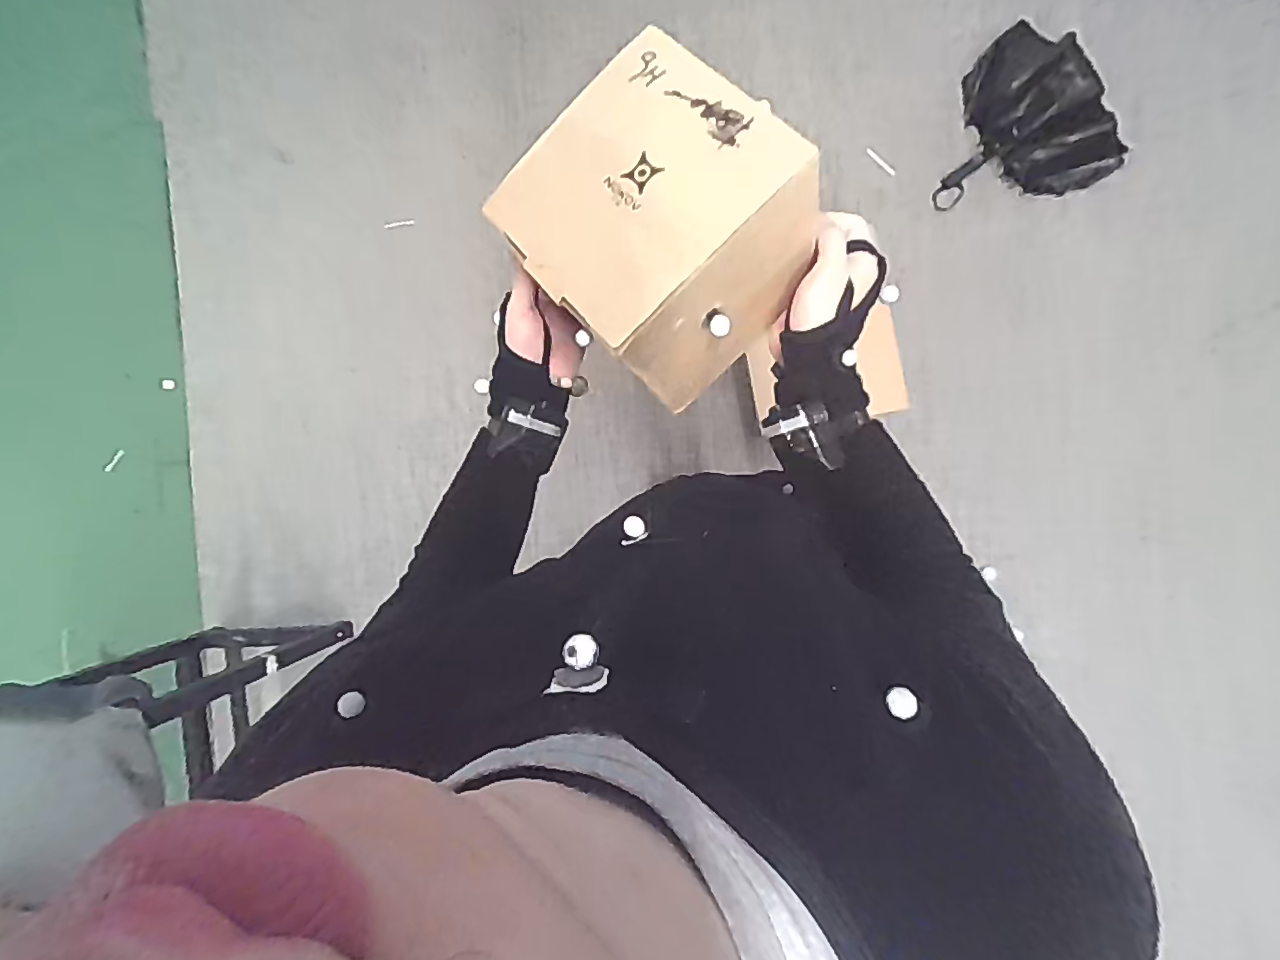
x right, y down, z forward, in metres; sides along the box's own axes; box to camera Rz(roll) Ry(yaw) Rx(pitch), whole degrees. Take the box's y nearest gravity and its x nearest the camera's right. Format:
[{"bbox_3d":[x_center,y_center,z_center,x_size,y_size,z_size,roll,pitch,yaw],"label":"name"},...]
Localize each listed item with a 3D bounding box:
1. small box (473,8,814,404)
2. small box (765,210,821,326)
[{"bbox_3d":[0.017,-0.185,0.419,0.179,0.176,0.168,-43,73,8],"label":"small box"},{"bbox_3d":[0.263,-0.415,1.097,0.179,0.176,0.168,-7,90,15],"label":"small box"}]
